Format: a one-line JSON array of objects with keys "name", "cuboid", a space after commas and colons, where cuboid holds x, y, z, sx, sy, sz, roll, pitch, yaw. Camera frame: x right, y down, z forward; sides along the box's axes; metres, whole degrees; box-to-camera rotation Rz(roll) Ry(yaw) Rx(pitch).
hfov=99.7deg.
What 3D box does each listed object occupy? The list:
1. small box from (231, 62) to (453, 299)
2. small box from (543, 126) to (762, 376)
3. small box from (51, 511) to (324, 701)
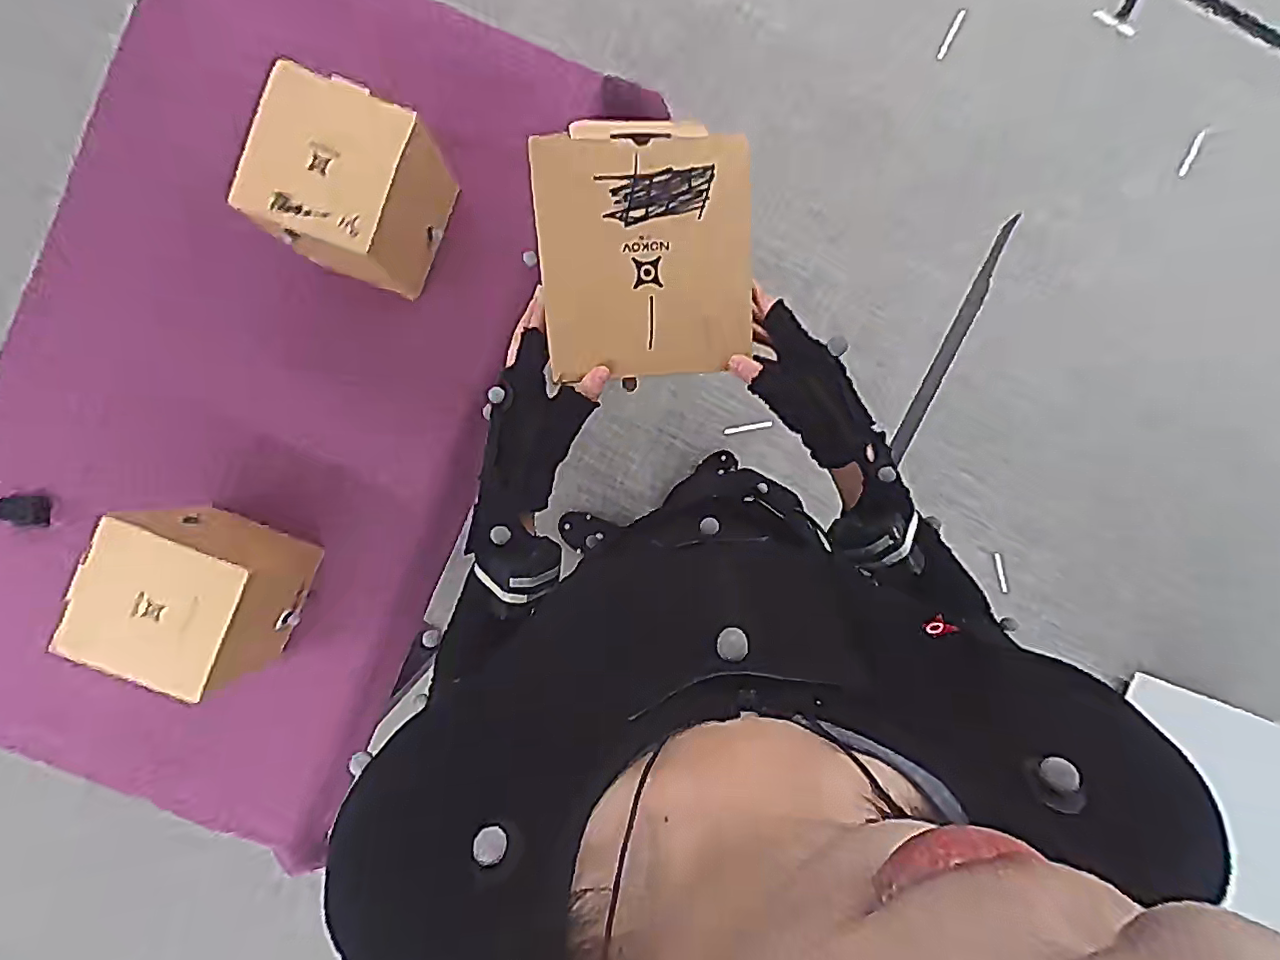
[{"name": "small box", "cuboid": [-0.359, -0.363, 0.691, 0.168, 0.176, 0.179, 20, 89, -3]}, {"name": "small box", "cuboid": [0.001, -0.188, 0.489, 0.168, 0.176, 0.179, -5, 102, -7]}, {"name": "small box", "cuboid": [-0.551, 0.144, 0.686, 0.179, 0.176, 0.168, 21, 90, -4]}]
